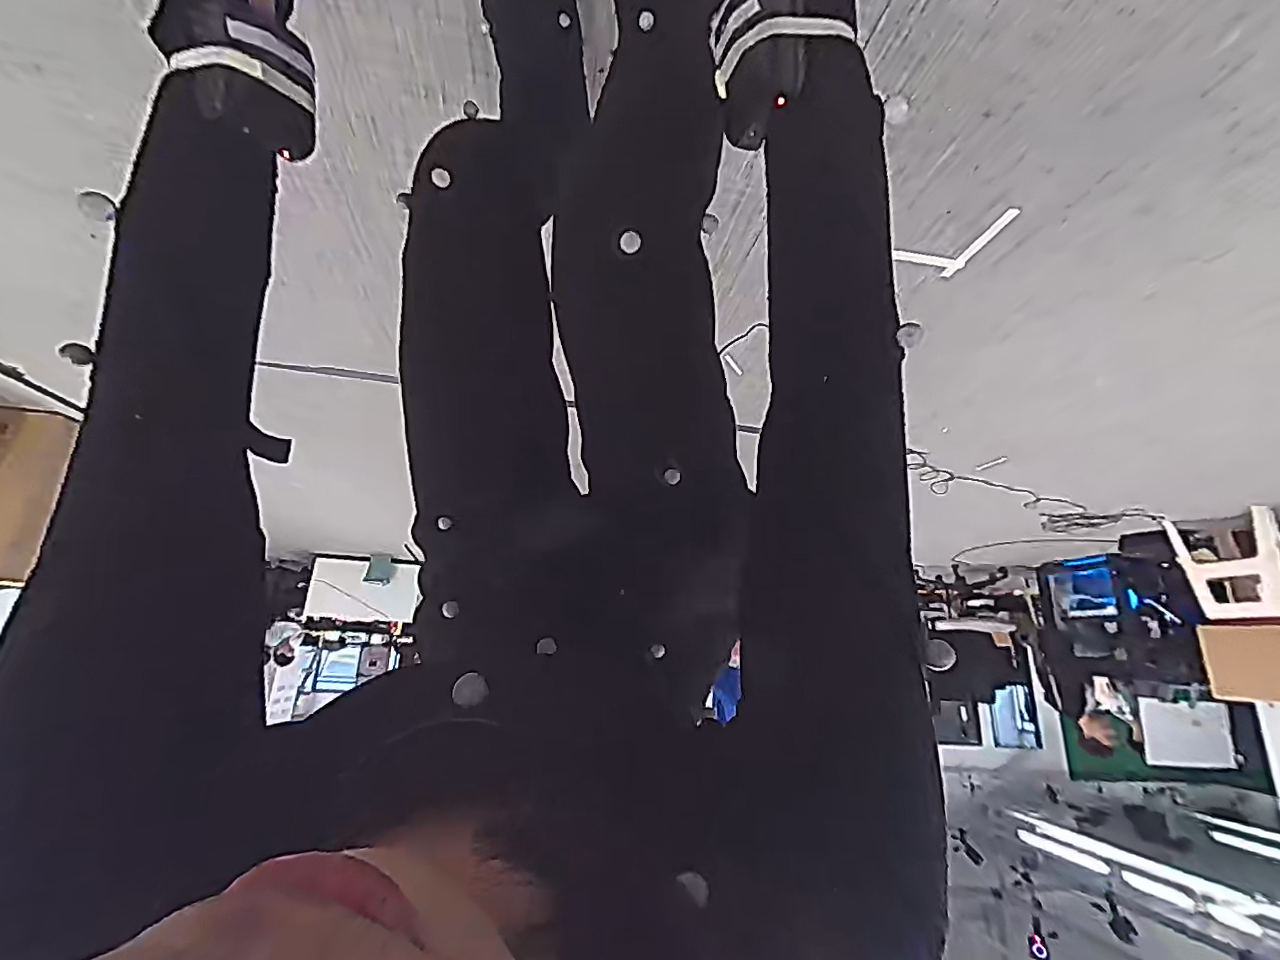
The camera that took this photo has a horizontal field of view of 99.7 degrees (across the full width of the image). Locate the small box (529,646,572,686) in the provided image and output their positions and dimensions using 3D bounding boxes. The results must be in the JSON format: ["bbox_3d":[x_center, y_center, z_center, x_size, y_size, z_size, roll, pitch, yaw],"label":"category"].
[{"bbox_3d":[-0.420,0.875,2.548,0.179,0.176,0.168,5,163,-4],"label":"small box"}]
